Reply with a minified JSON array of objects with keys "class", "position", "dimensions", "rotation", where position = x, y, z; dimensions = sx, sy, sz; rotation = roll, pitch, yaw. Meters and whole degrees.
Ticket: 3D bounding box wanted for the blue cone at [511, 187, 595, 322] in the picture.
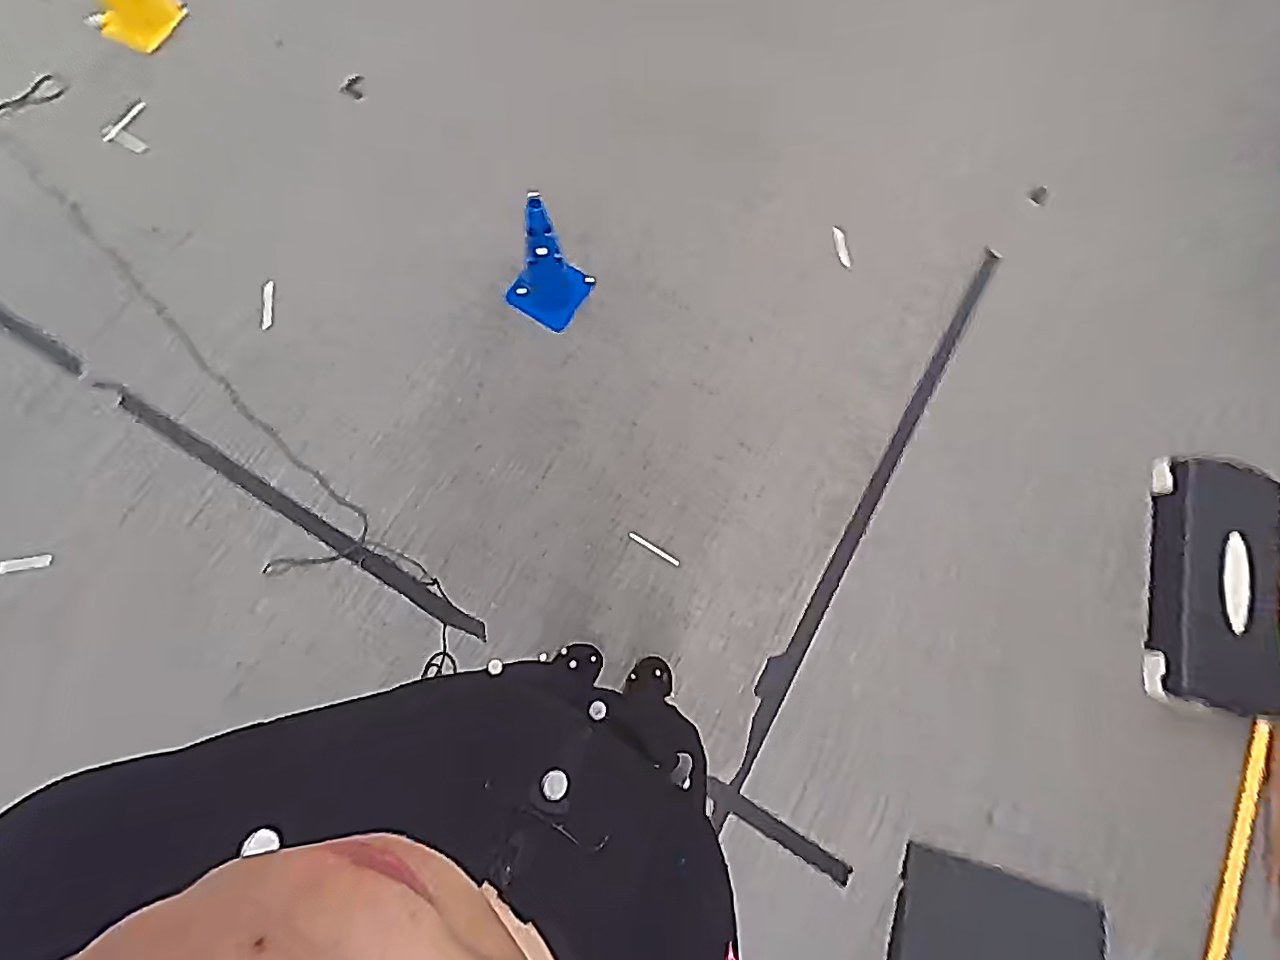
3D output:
[{"class":"blue cone","position":[-0.238,-0.586,1.377],"dimensions":[0.193,0.380,0.192],"rotation":[33,77,4]}]
